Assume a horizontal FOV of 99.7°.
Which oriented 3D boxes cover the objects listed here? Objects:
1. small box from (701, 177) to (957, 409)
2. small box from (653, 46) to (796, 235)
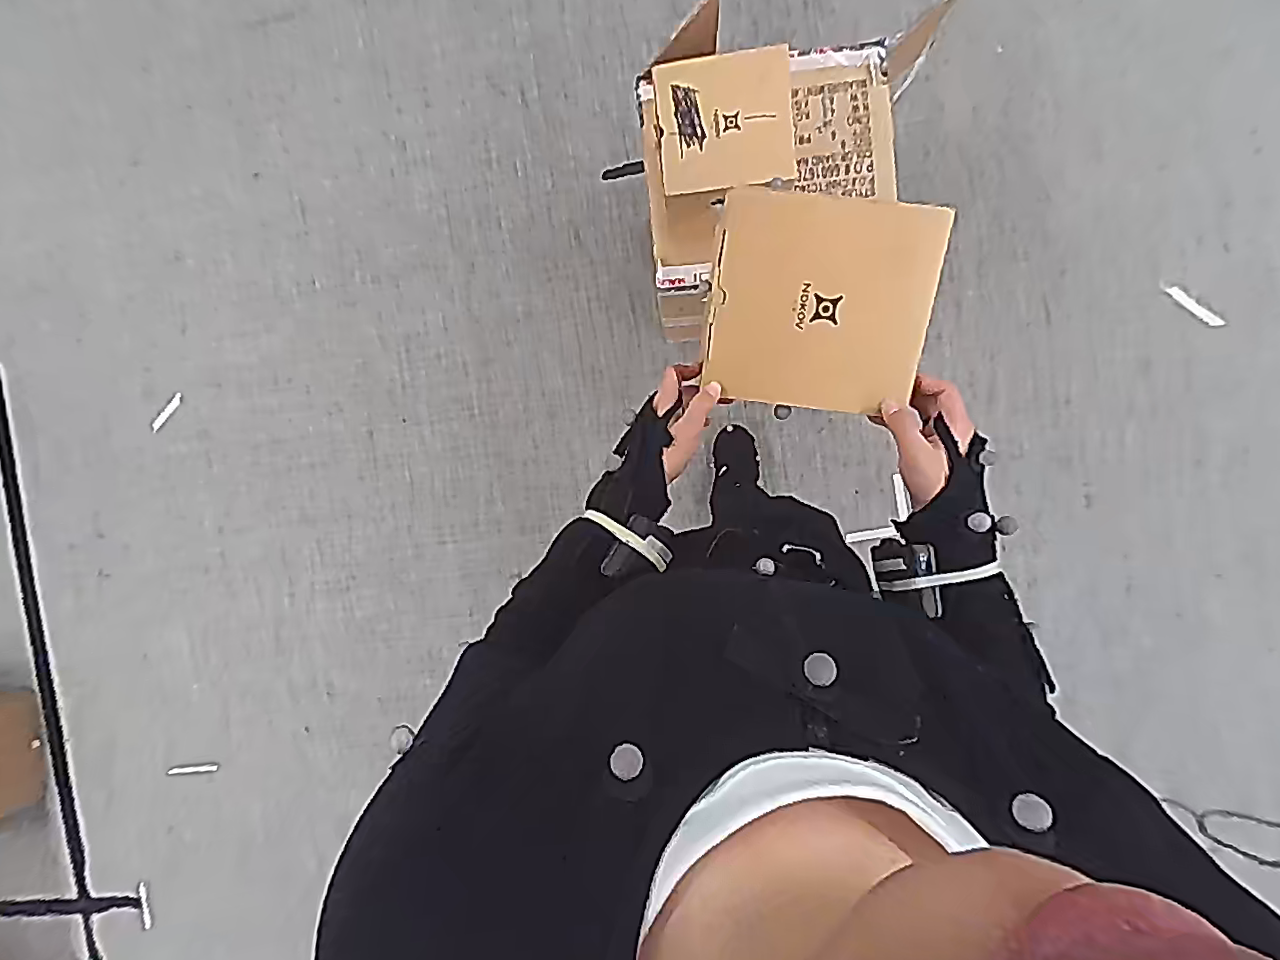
[{"bbox_3d":[0.156,-0.171,0.516,0.179,0.176,0.168,7,106,4],"label":"small box"},{"bbox_3d":[0.118,-0.469,0.778,0.179,0.176,0.168,-5,95,5],"label":"small box"}]
